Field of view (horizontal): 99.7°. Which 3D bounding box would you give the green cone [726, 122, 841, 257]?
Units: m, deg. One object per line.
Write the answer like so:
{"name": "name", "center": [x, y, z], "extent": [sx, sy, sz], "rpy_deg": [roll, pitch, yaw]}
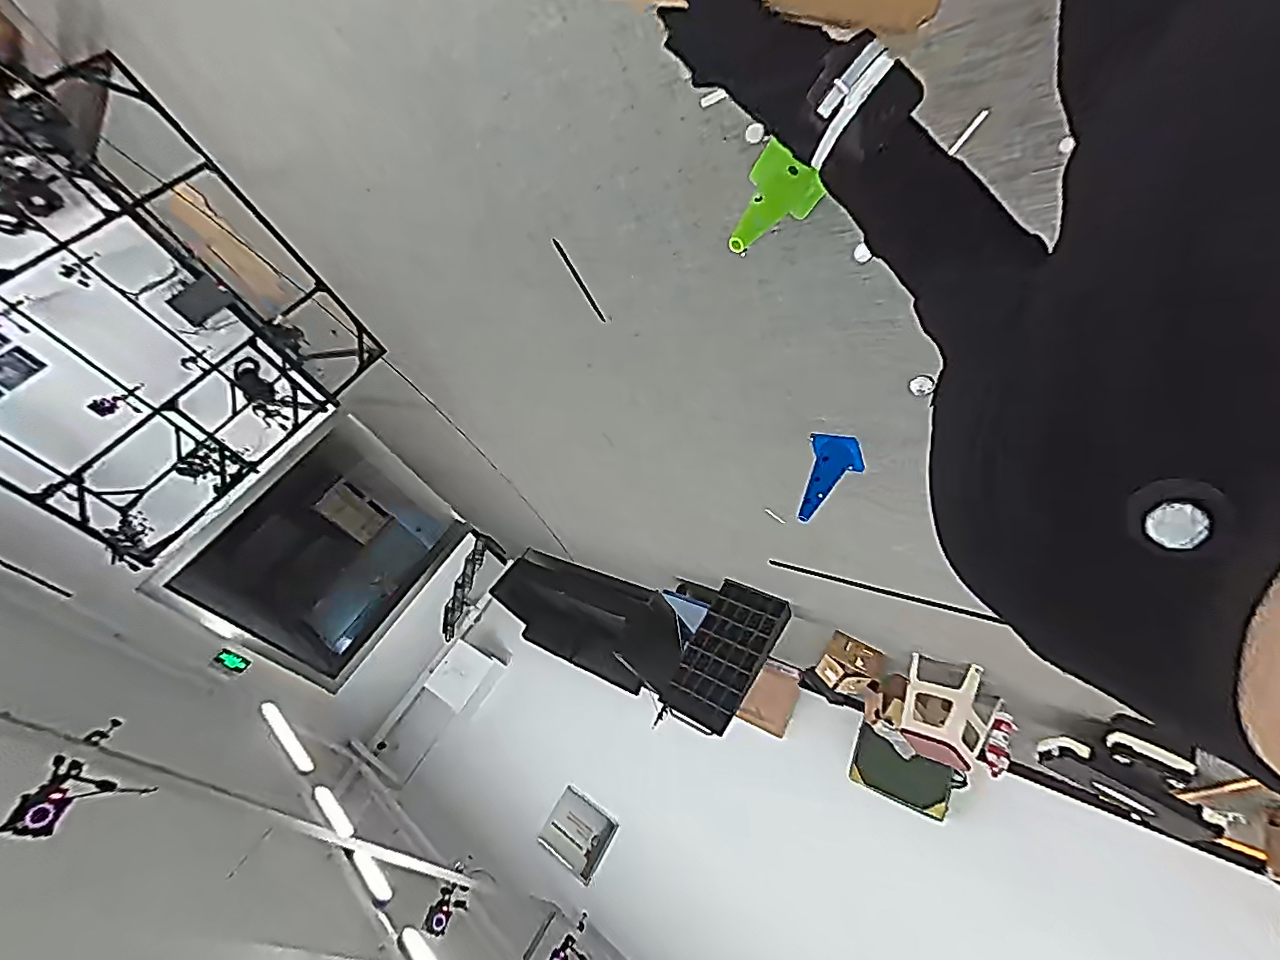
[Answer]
{"name": "green cone", "center": [0.320, -0.696, 1.381], "extent": [0.200, 0.368, 0.202], "rpy_deg": [38, 157, -3]}

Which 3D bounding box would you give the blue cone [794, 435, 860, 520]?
{"name": "blue cone", "center": [0.722, 0.009, 2.170], "extent": [0.192, 0.380, 0.193], "rpy_deg": [14, 147, 41]}
